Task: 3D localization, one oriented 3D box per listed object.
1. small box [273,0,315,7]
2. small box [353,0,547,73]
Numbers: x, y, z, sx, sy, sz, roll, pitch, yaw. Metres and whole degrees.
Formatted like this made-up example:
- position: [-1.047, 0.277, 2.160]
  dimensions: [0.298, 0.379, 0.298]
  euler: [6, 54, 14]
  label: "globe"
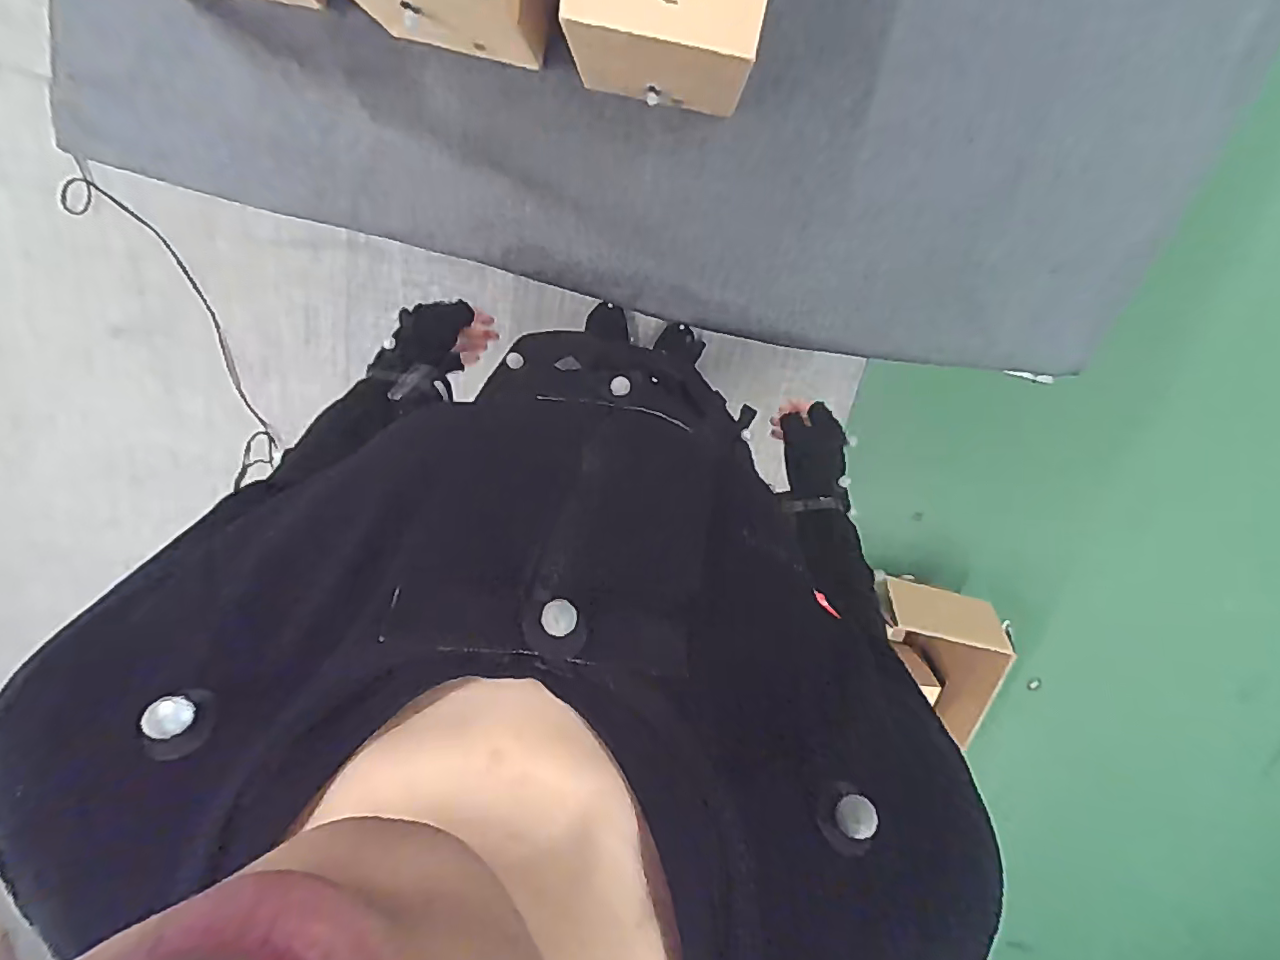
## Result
- position: [-0.403, -0.559, 0.465]
  dimensions: [0.168, 0.176, 0.179]
  euler: [9, 108, -2]
  label: "small box"
- position: [-0.173, -0.504, 0.479]
  dimensions: [0.168, 0.176, 0.179]
  euler: [12, 108, -2]
  label: "small box"
